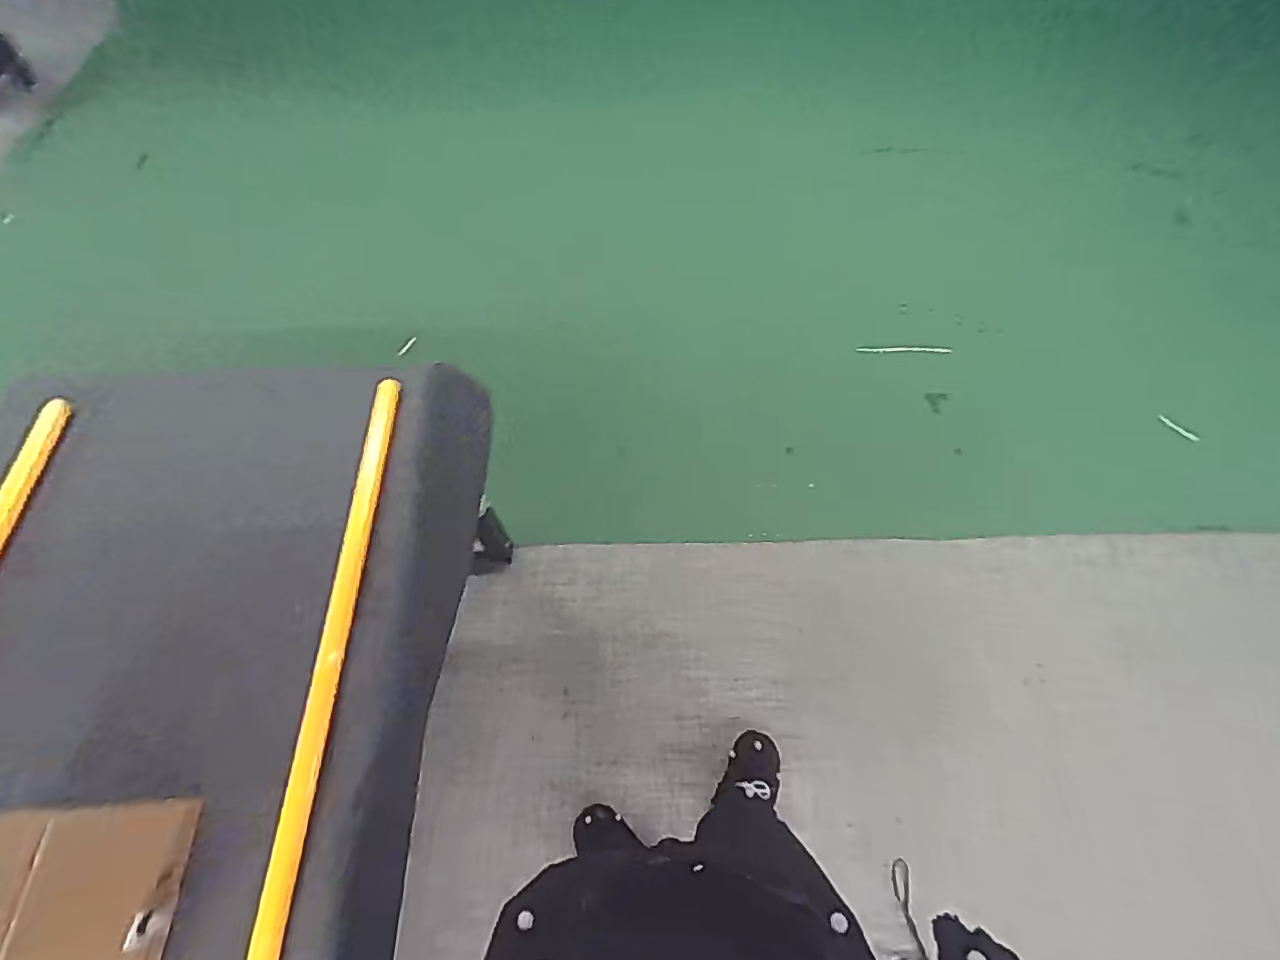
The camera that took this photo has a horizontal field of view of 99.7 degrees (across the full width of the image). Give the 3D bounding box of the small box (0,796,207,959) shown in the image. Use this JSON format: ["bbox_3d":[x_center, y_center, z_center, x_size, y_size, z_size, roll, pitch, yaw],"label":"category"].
[{"bbox_3d":[-0.529,0.372,0.455,0.179,0.176,0.168,-3,64,-3],"label":"small box"}]

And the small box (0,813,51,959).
[{"bbox_3d":[-0.531,0.297,0.308,0.179,0.176,0.168,-2,64,-2],"label":"small box"}]
